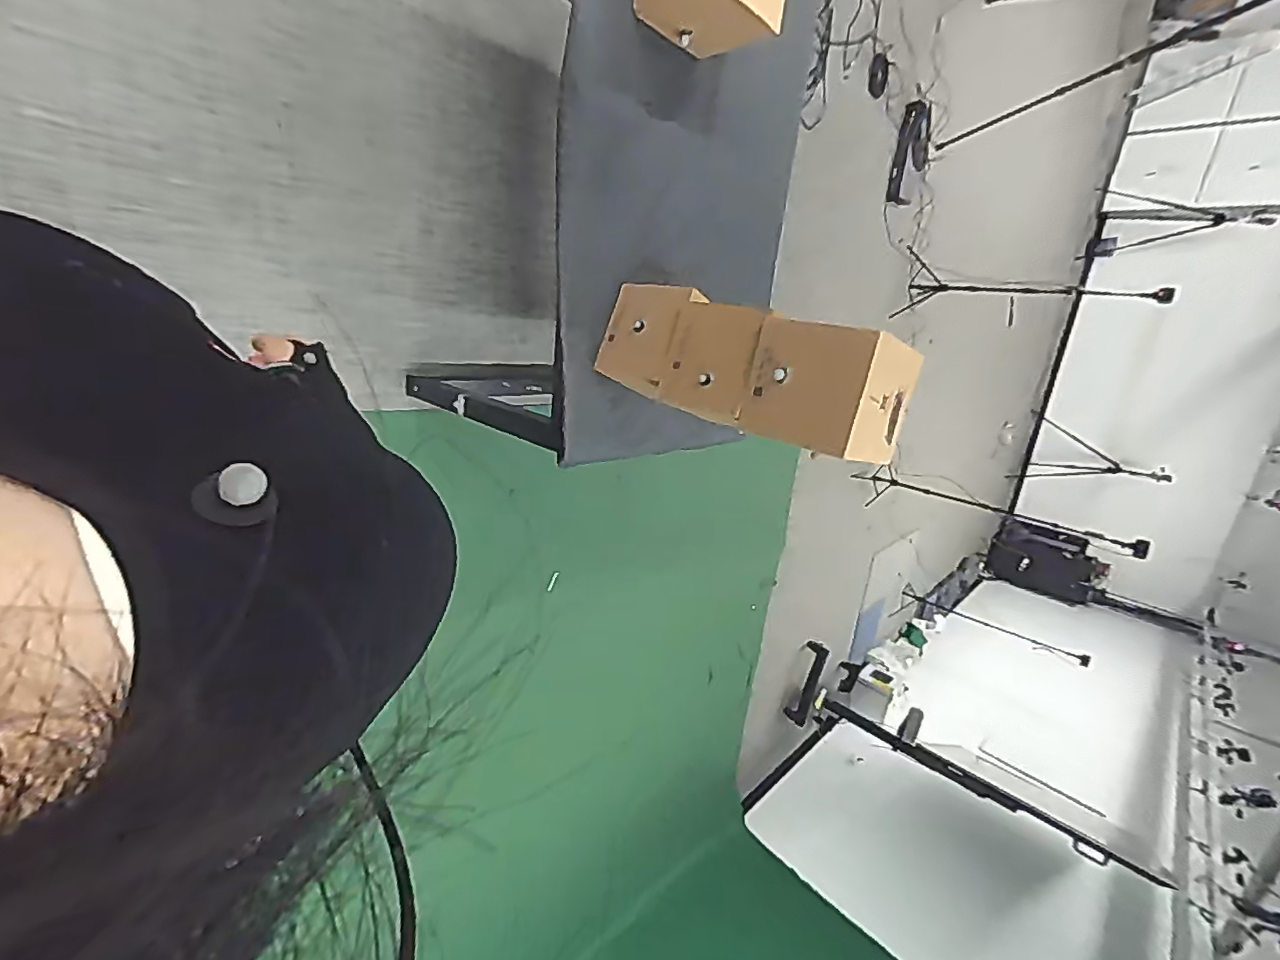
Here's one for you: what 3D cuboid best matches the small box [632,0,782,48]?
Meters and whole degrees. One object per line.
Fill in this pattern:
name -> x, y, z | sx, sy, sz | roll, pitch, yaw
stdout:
small box -> 0.110, -0.800, 0.827 | 0.179, 0.176, 0.168 | -12, 114, -45

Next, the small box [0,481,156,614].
small box -> -1.090, 0.120, 1.033 | 0.168, 0.176, 0.179 | -51, 136, -18

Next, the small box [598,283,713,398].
small box -> 0.052, -0.243, 0.985 | 0.179, 0.176, 0.168 | 18, 92, -51

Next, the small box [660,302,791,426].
small box -> 0.158, -0.180, 0.877 | 0.179, 0.176, 0.168 | 10, 99, -50

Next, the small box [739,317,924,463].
small box -> 0.270, -0.128, 0.768 | 0.179, 0.176, 0.168 | 2, 105, -47
